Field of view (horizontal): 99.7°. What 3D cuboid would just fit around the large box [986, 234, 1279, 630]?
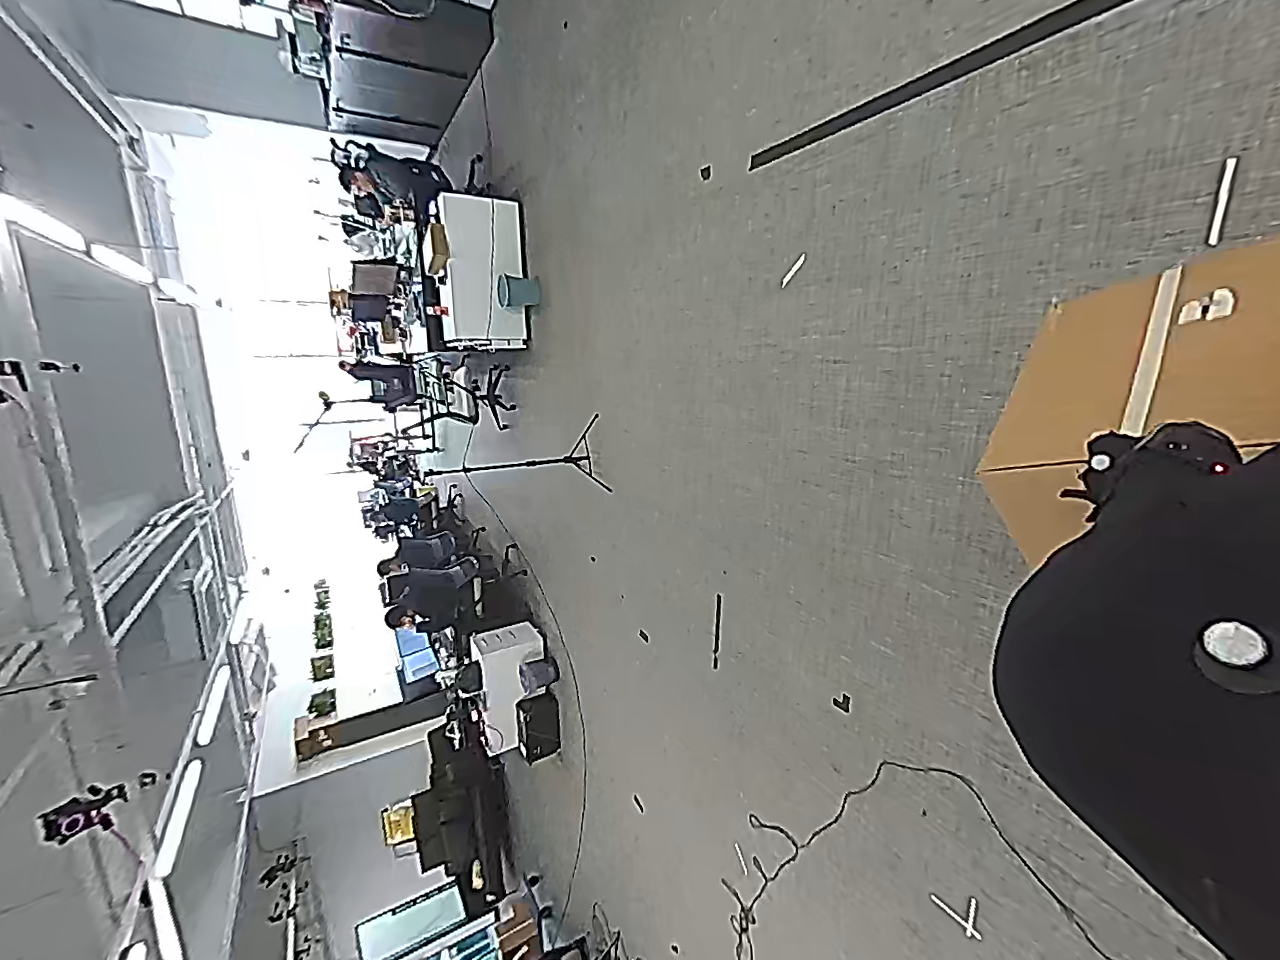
[{"bbox_3d":[0.744,-0.057,0.729,0.320,0.408,0.320,49,153,-20],"label":"large box"}]
